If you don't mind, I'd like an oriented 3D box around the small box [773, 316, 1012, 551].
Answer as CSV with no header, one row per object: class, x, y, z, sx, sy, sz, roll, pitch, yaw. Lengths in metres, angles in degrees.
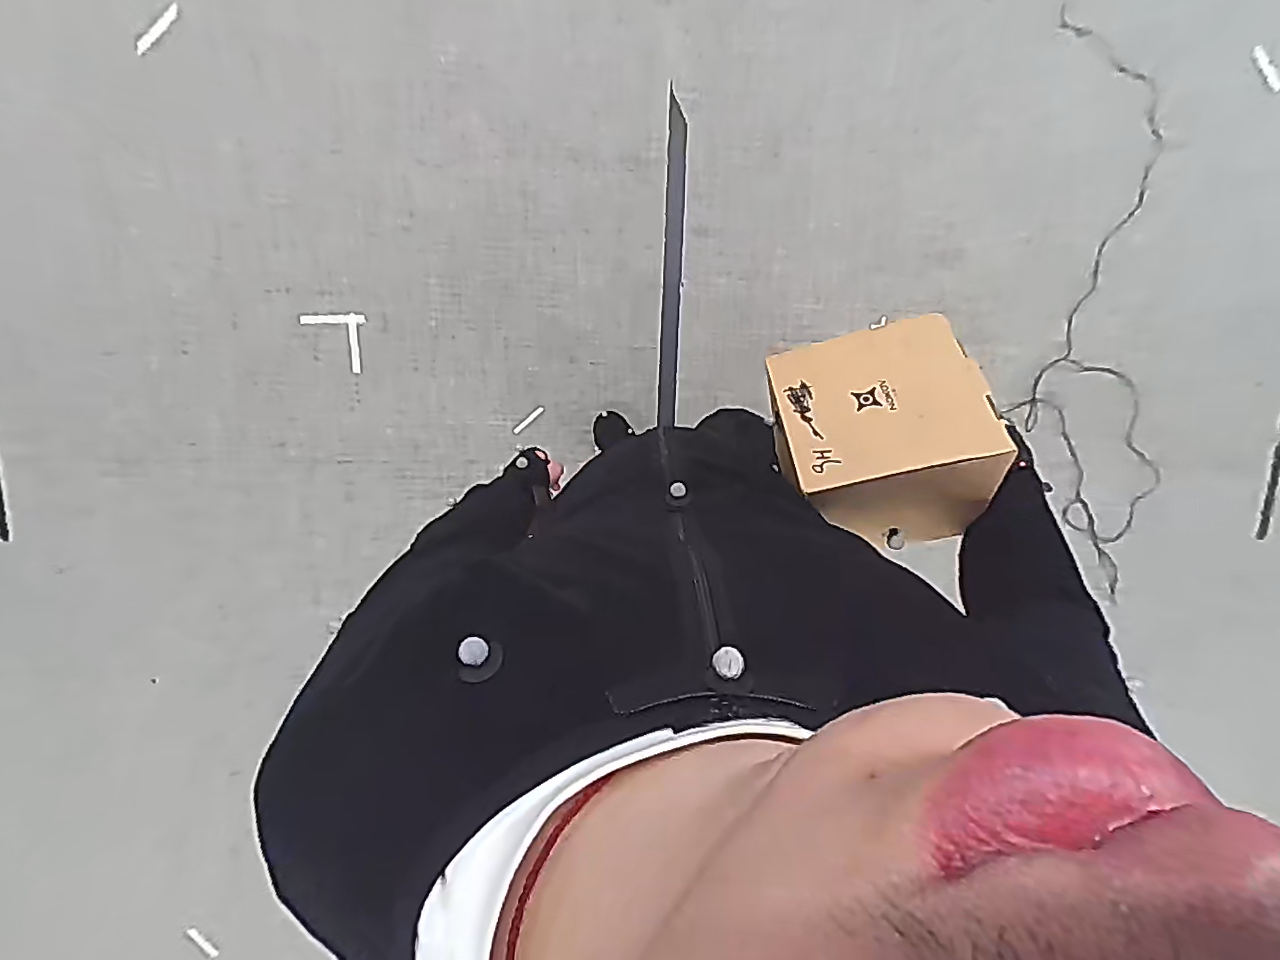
small box,0.248,-0.039,0.579,0.179,0.176,0.168,-12,57,11
